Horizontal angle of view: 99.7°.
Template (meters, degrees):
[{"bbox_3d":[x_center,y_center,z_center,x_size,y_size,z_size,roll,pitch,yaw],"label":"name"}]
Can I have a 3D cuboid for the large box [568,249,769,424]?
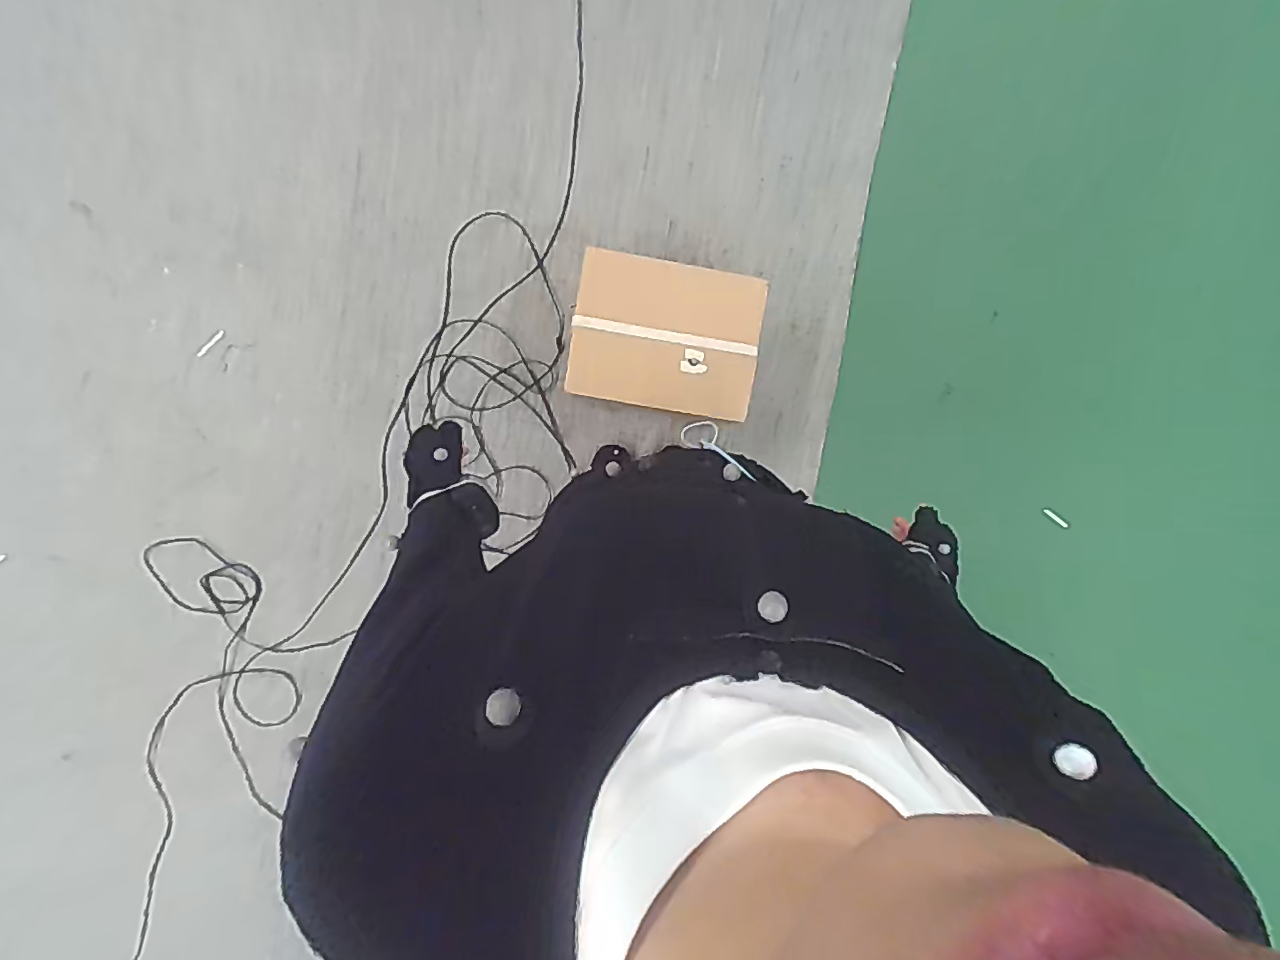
[{"bbox_3d":[0.052,-0.321,1.311,0.408,0.320,0.320,9,94,-3],"label":"large box"}]
